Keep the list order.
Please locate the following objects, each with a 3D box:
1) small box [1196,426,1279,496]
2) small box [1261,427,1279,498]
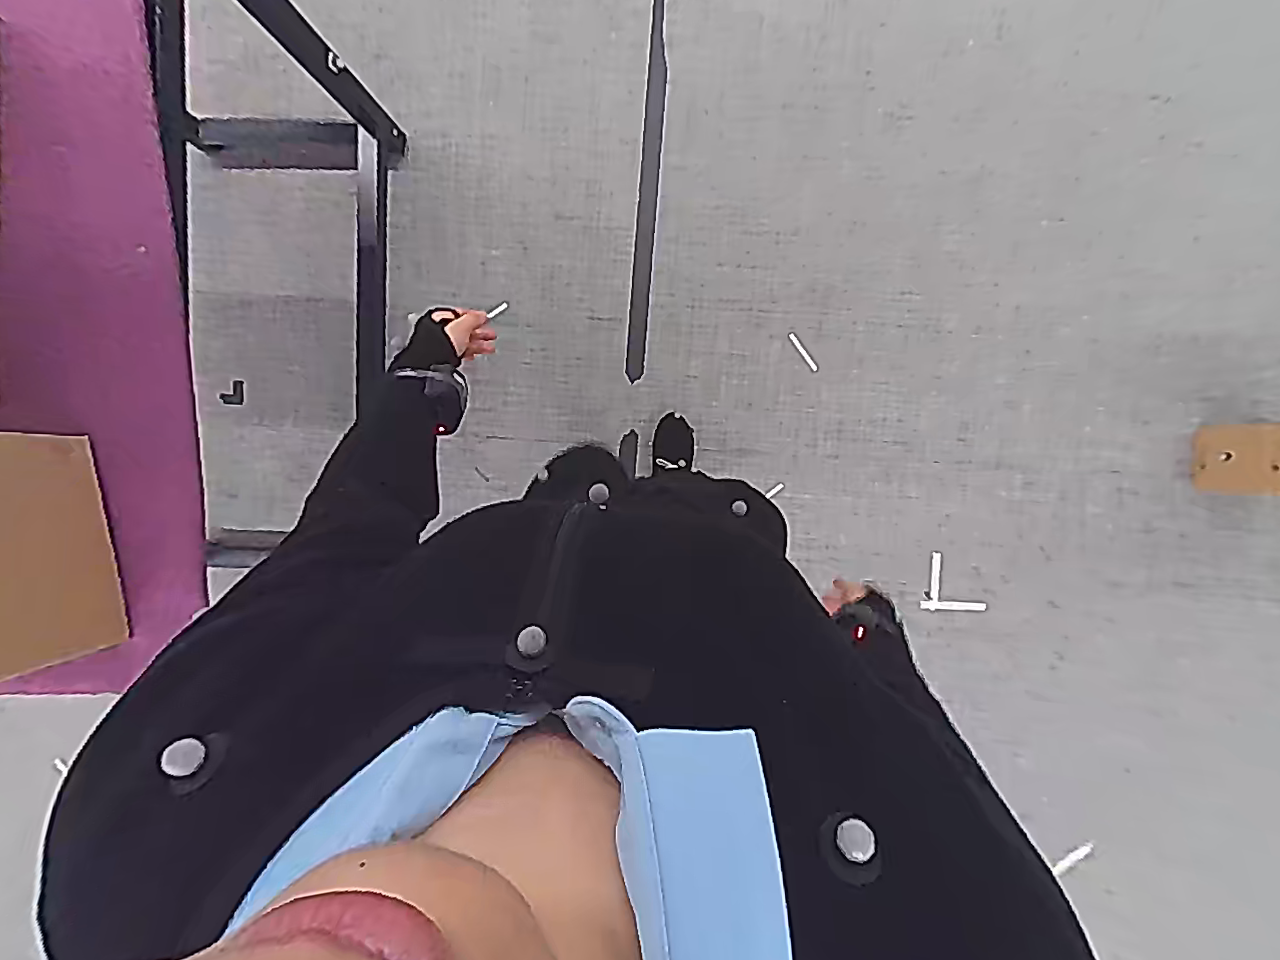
[{"bbox_3d":[1.528,-0.046,1.322,0.179,0.176,0.168,0,94,2],"label":"small box"},{"bbox_3d":[1.521,-0.036,1.159,0.179,0.176,0.168,1,93,3],"label":"small box"}]
